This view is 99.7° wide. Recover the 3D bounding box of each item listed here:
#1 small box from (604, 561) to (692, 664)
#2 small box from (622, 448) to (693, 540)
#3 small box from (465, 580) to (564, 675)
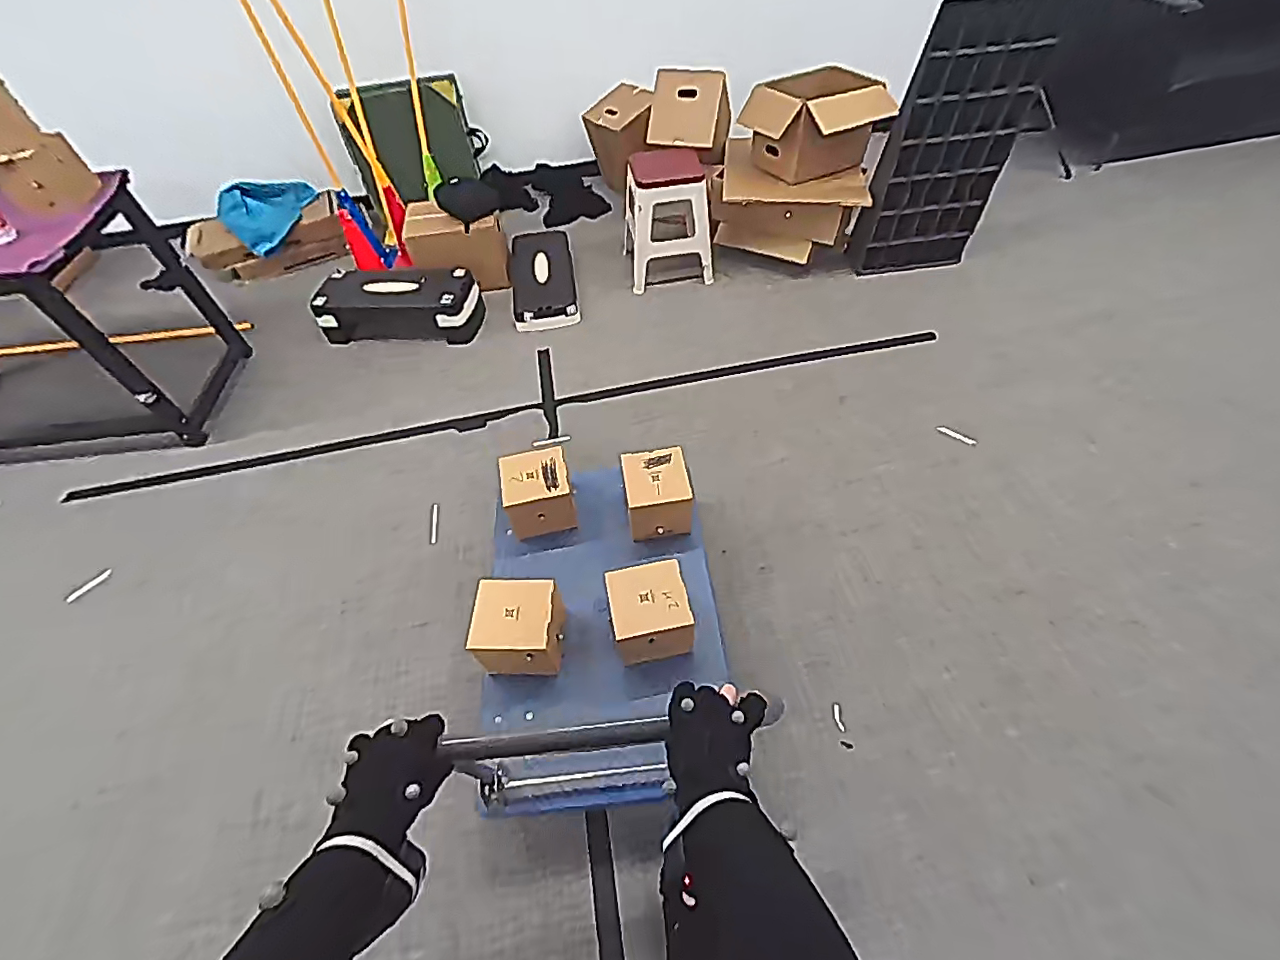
[{"bbox_3d":[0.020,0.313,1.258,0.179,0.176,0.168,-10,54,-4],"label":"small box"},{"bbox_3d":[0.045,0.040,1.460,0.168,0.176,0.179,-8,54,-2],"label":"small box"},{"bbox_3d":[-0.282,0.344,1.254,0.179,0.176,0.168,0,53,2],"label":"small box"}]
